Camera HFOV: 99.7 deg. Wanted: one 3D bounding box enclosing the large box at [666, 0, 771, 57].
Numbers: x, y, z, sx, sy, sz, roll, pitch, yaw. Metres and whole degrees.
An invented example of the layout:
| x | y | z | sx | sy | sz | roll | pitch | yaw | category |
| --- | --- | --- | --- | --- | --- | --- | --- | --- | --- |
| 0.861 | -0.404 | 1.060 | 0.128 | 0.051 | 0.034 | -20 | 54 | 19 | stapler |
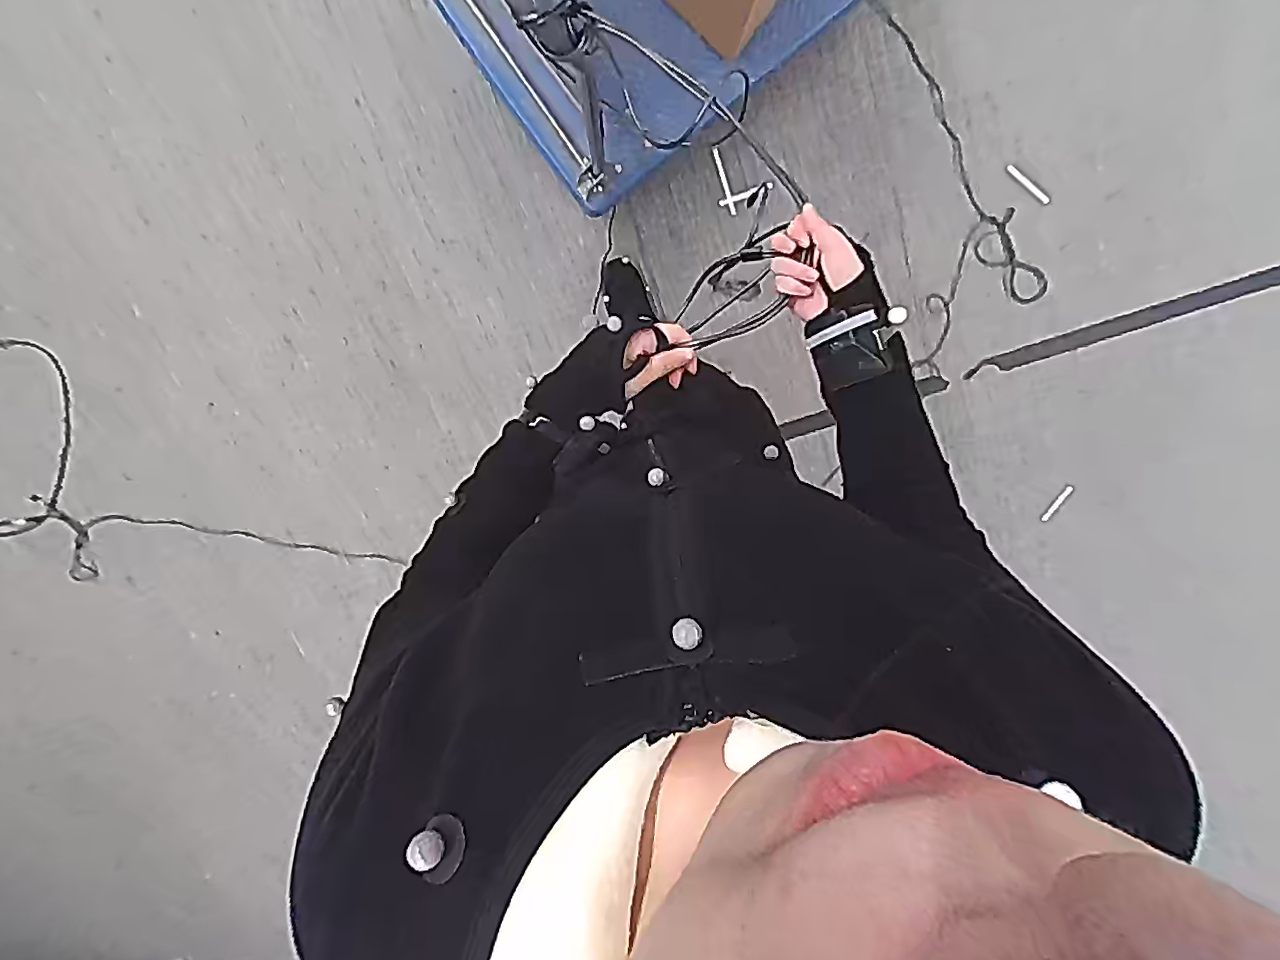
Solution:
| x | y | z | sx | sy | sz | roll | pitch | yaw | category |
| --- | --- | --- | --- | --- | --- | --- | --- | --- | --- |
| 0.123 | -1.044 | 0.889 | 0.408 | 0.320 | 0.320 | 37 | 101 | -11 | large box |
